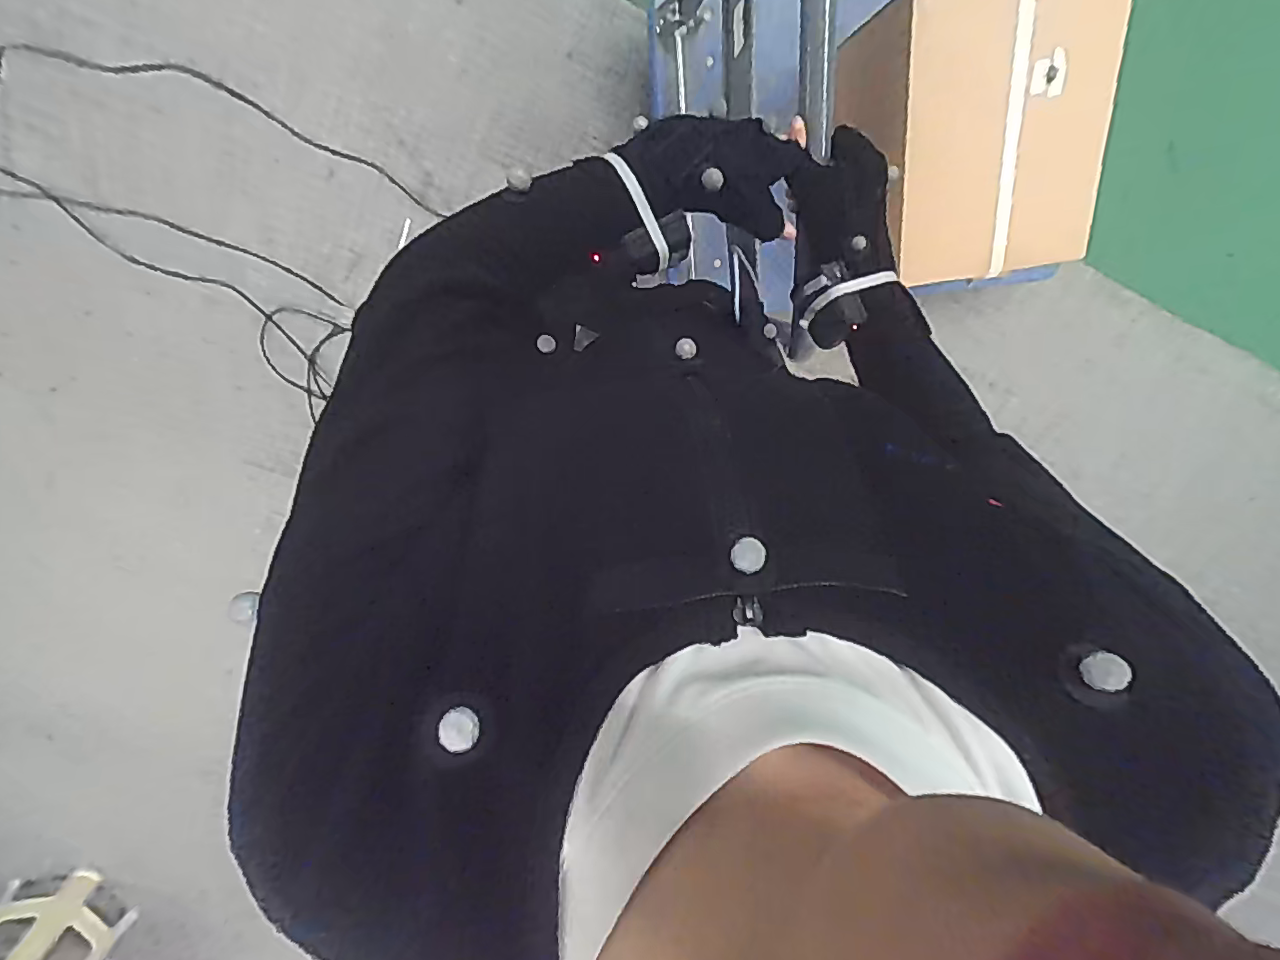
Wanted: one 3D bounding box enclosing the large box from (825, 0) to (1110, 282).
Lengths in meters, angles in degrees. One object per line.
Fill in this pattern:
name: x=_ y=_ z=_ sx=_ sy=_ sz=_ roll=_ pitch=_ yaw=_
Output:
large box: x=0.536 y=-0.593 z=0.964 sx=0.320 sy=0.320 sz=0.408 roll=-9 pitch=113 yaw=0
